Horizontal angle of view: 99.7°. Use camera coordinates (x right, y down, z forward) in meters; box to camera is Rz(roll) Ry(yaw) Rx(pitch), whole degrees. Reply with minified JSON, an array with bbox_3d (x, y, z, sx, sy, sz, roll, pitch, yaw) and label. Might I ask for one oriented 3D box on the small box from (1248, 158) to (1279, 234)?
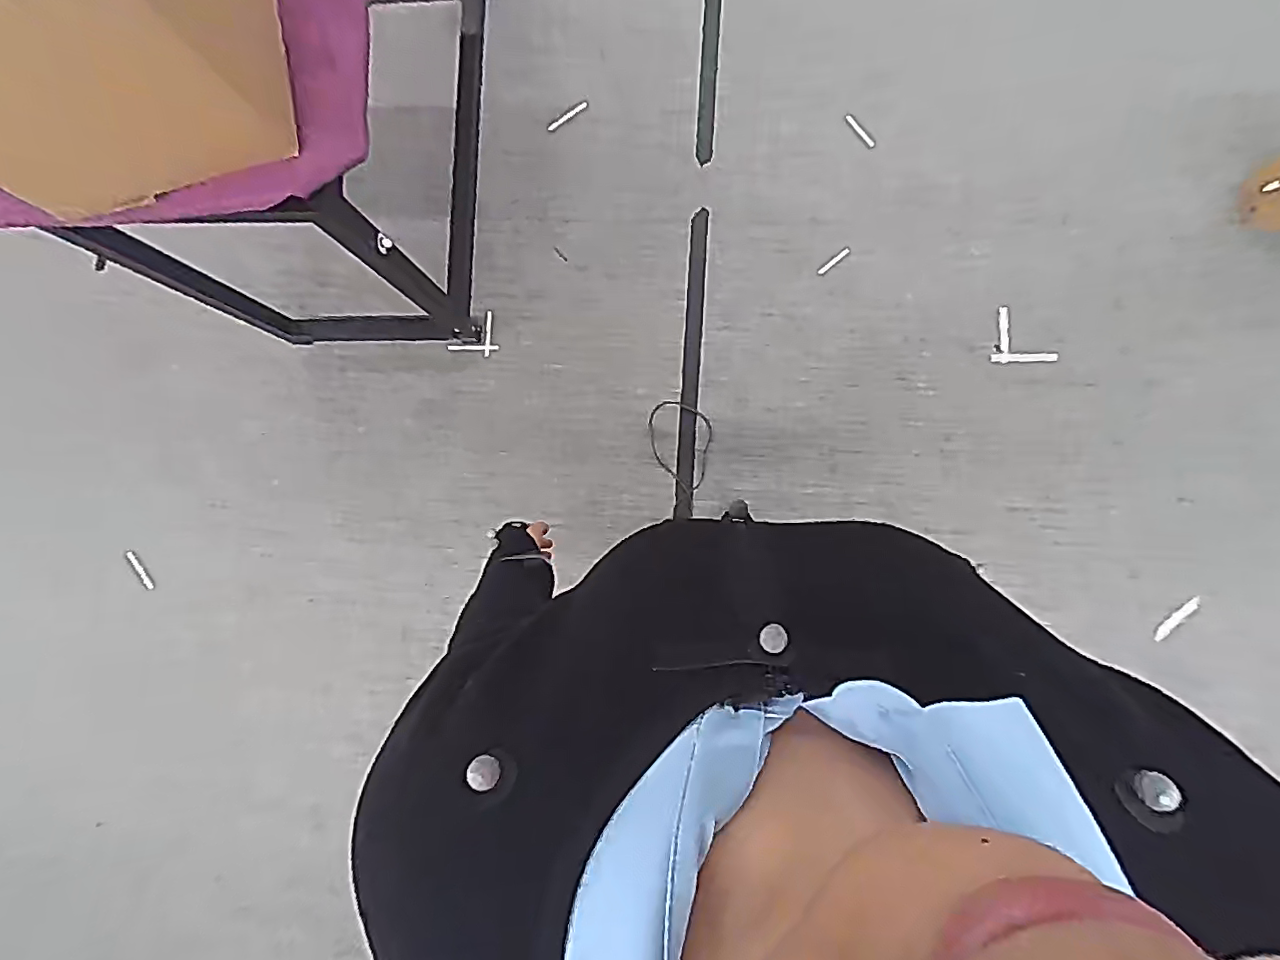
[{"bbox_3d":[1.735,-0.755,1.392,0.179,0.176,0.168,-1,86,3],"label":"small box"}]
